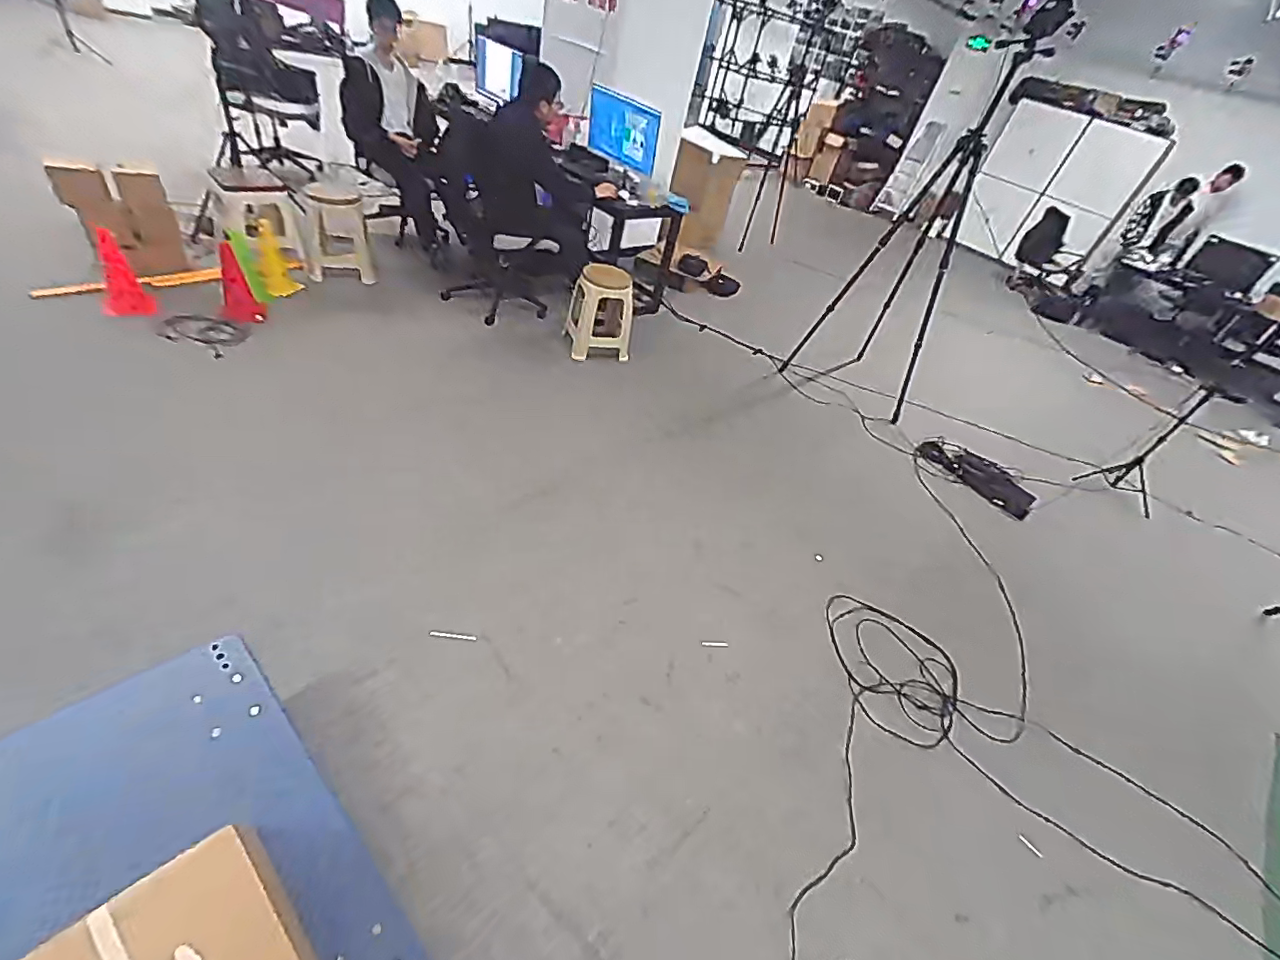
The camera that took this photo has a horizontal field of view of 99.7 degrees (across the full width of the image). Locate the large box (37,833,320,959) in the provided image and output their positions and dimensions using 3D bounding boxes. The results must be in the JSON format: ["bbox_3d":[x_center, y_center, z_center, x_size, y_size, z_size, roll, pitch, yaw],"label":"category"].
[{"bbox_3d":[-0.664,0.816,0.796,0.320,0.320,0.408,-27,75,-40],"label":"large box"}]
